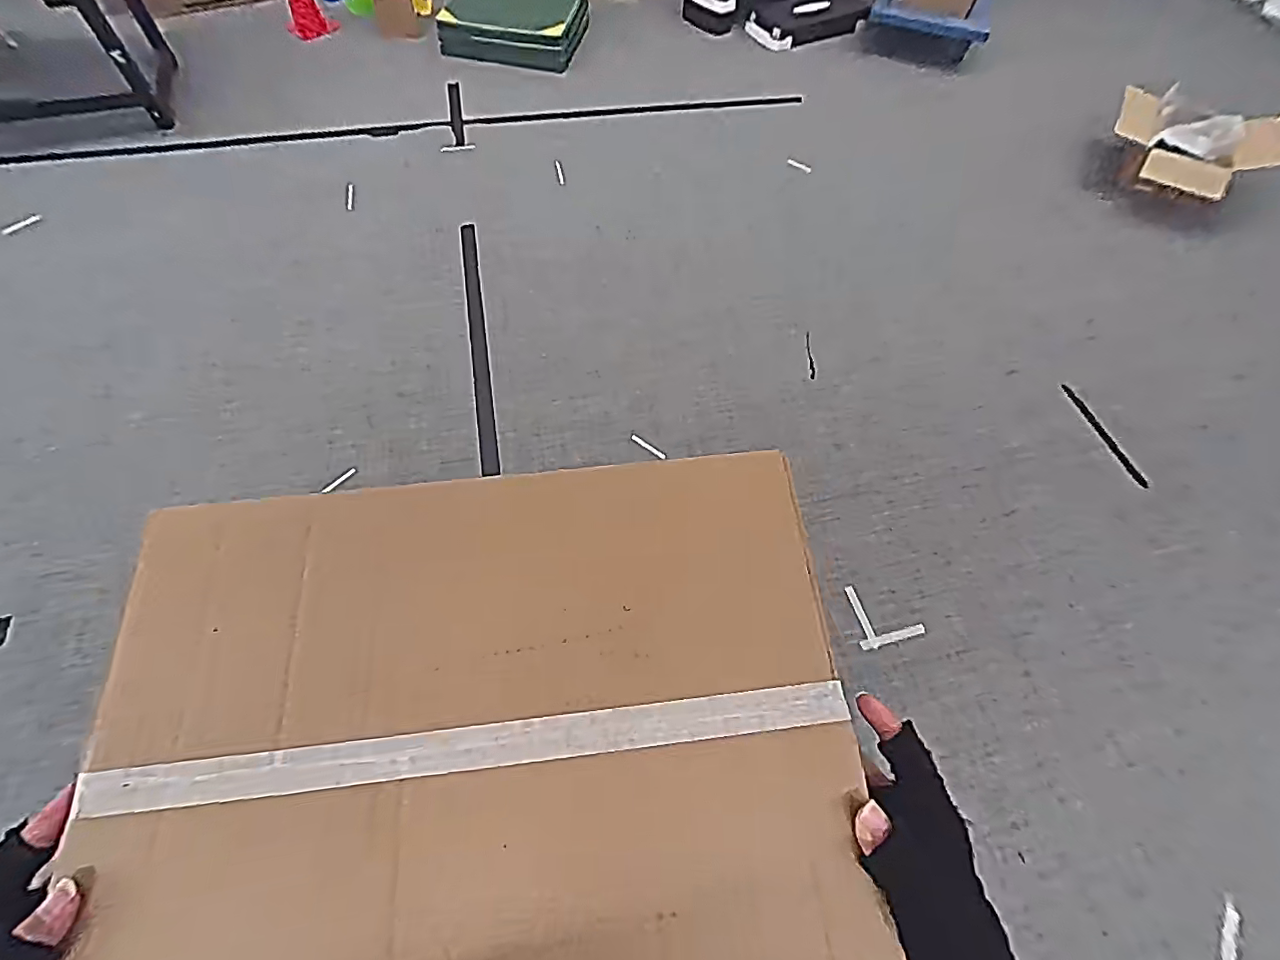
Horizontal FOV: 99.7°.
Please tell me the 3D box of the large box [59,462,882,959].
[{"bbox_3d":[-0.091,0.204,0.438,0.408,0.320,0.320,-5,67,-3],"label":"large box"}]
